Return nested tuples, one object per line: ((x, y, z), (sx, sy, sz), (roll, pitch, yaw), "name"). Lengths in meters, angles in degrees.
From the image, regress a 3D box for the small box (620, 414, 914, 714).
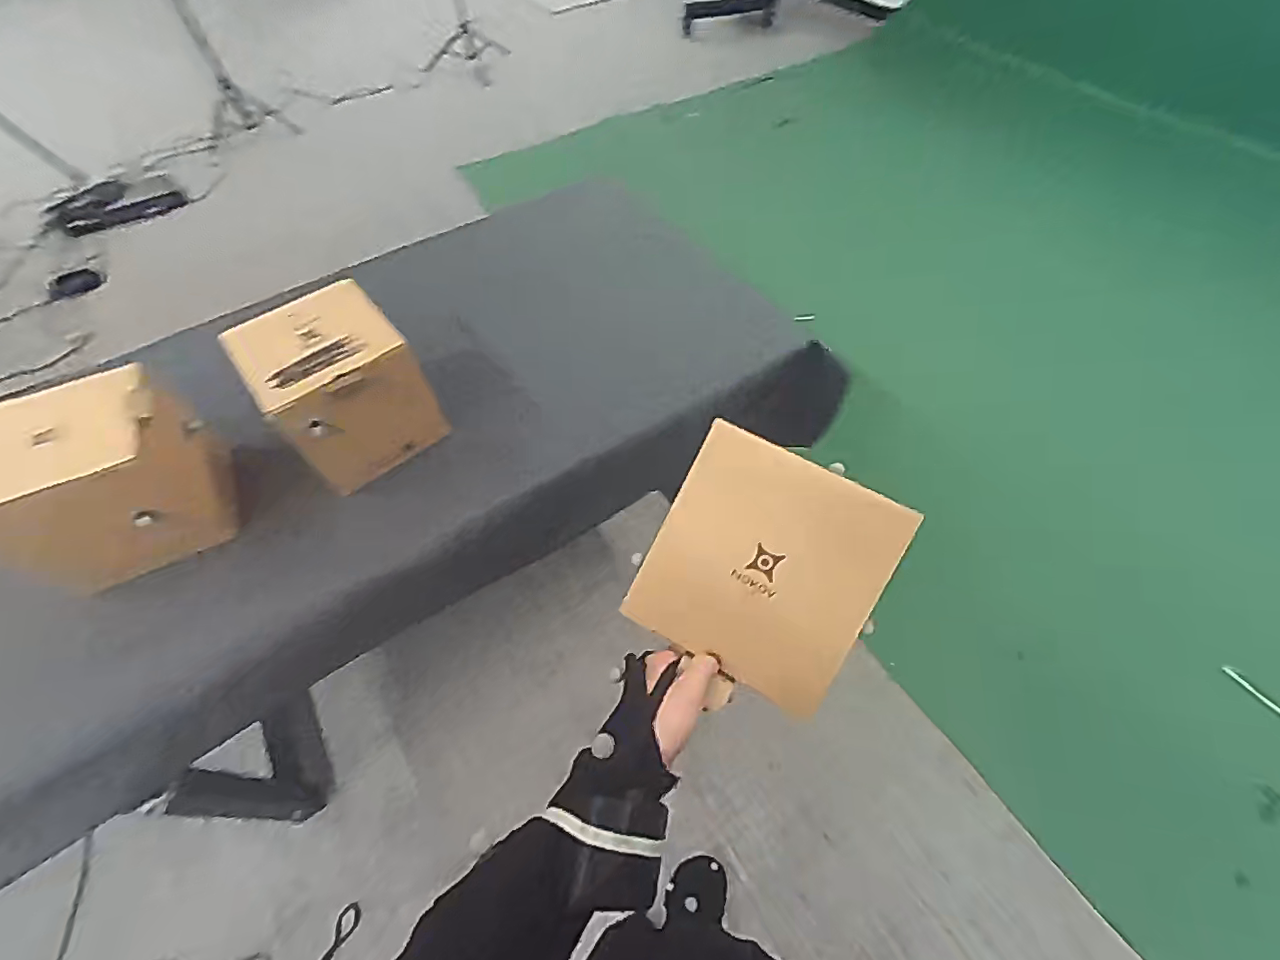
((0.106, 0.062, 0.485), (0.168, 0.176, 0.179), (26, 95, 12), "small box")

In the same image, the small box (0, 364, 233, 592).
((-0.615, 0.001, 0.633), (0.179, 0.176, 0.168), (-25, 57, -14), "small box")
